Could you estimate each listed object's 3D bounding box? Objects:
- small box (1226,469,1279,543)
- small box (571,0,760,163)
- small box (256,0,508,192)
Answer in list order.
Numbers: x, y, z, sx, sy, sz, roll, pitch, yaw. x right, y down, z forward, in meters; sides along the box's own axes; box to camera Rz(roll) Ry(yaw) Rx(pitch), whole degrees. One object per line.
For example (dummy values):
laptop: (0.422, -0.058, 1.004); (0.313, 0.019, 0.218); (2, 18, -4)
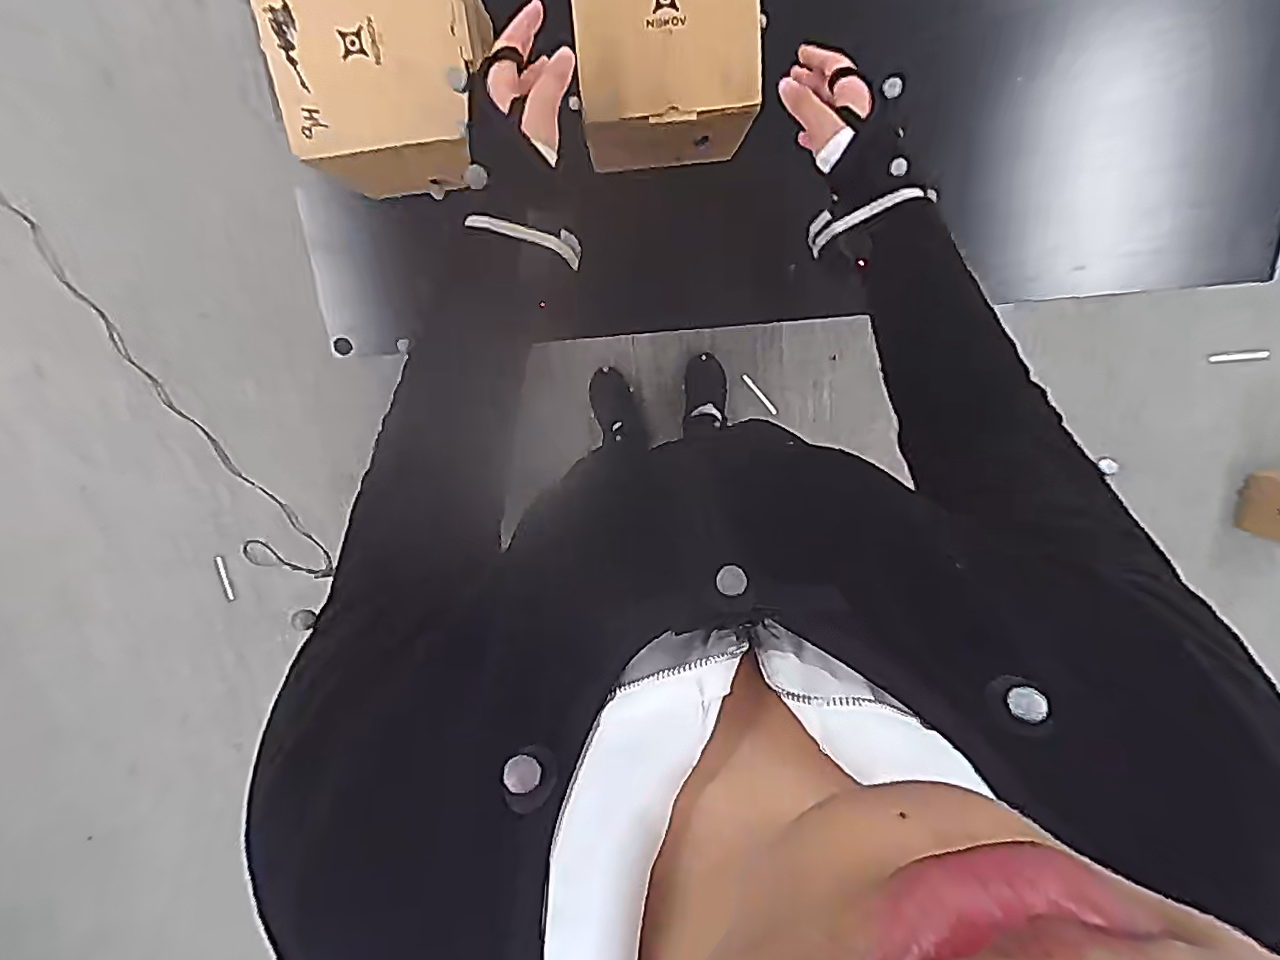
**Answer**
small box: (1.792, 0.070, 1.488); (0.168, 0.176, 0.179); (-4, 107, 1)
small box: (0.020, -0.438, 0.545); (0.168, 0.176, 0.179); (-6, 106, -1)
small box: (-0.240, -0.406, 0.547); (0.179, 0.176, 0.168); (-7, 106, 0)
